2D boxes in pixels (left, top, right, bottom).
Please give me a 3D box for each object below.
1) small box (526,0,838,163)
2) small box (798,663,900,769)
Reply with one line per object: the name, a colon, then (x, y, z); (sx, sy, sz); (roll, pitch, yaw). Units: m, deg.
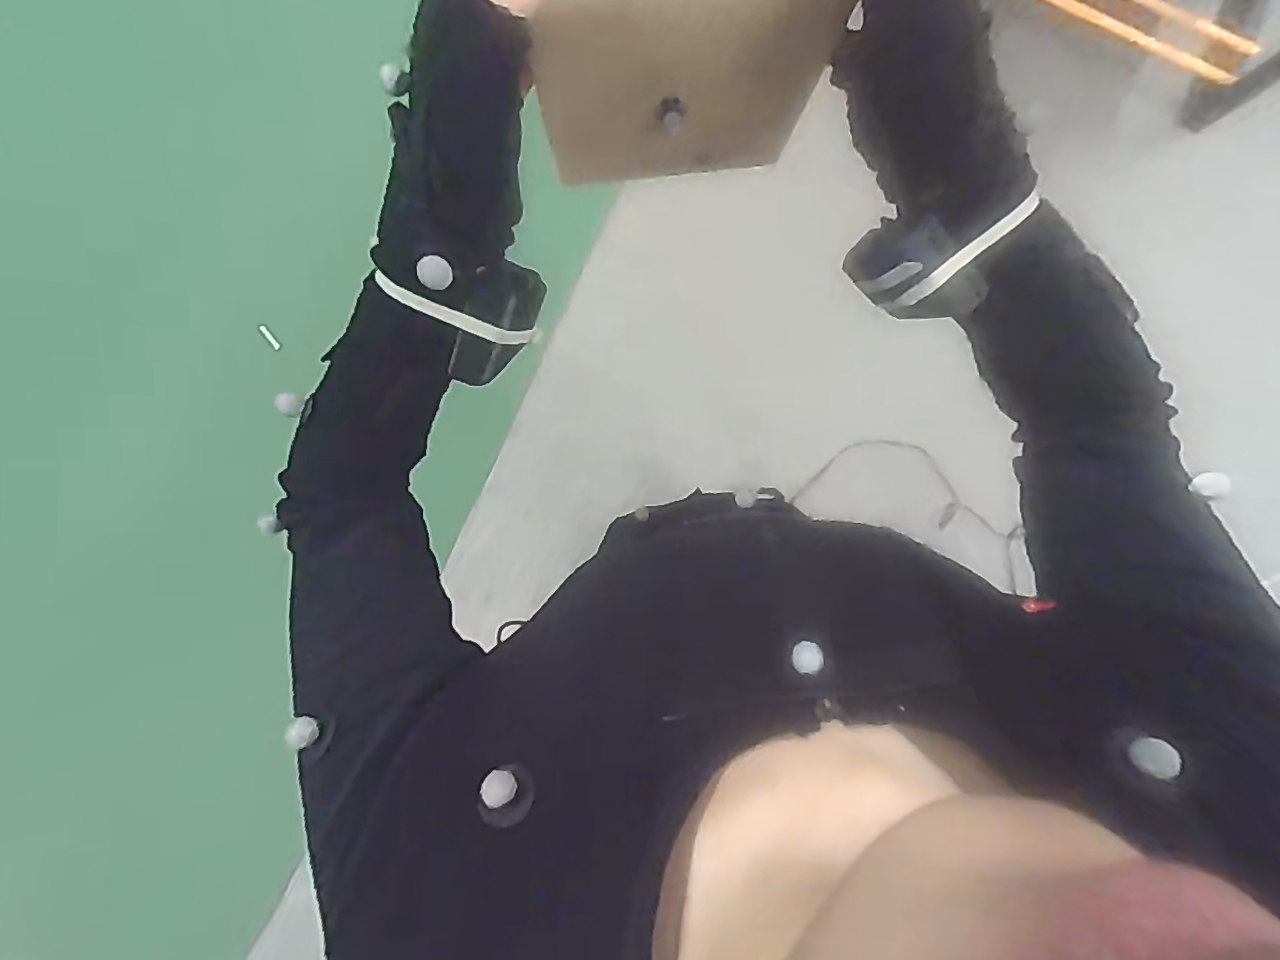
small box: (0.018, -0.318, 0.324); (0.168, 0.176, 0.179); (-6, 91, -2)
small box: (0.533, 0.605, 1.407); (0.168, 0.176, 0.179); (22, 85, -2)
